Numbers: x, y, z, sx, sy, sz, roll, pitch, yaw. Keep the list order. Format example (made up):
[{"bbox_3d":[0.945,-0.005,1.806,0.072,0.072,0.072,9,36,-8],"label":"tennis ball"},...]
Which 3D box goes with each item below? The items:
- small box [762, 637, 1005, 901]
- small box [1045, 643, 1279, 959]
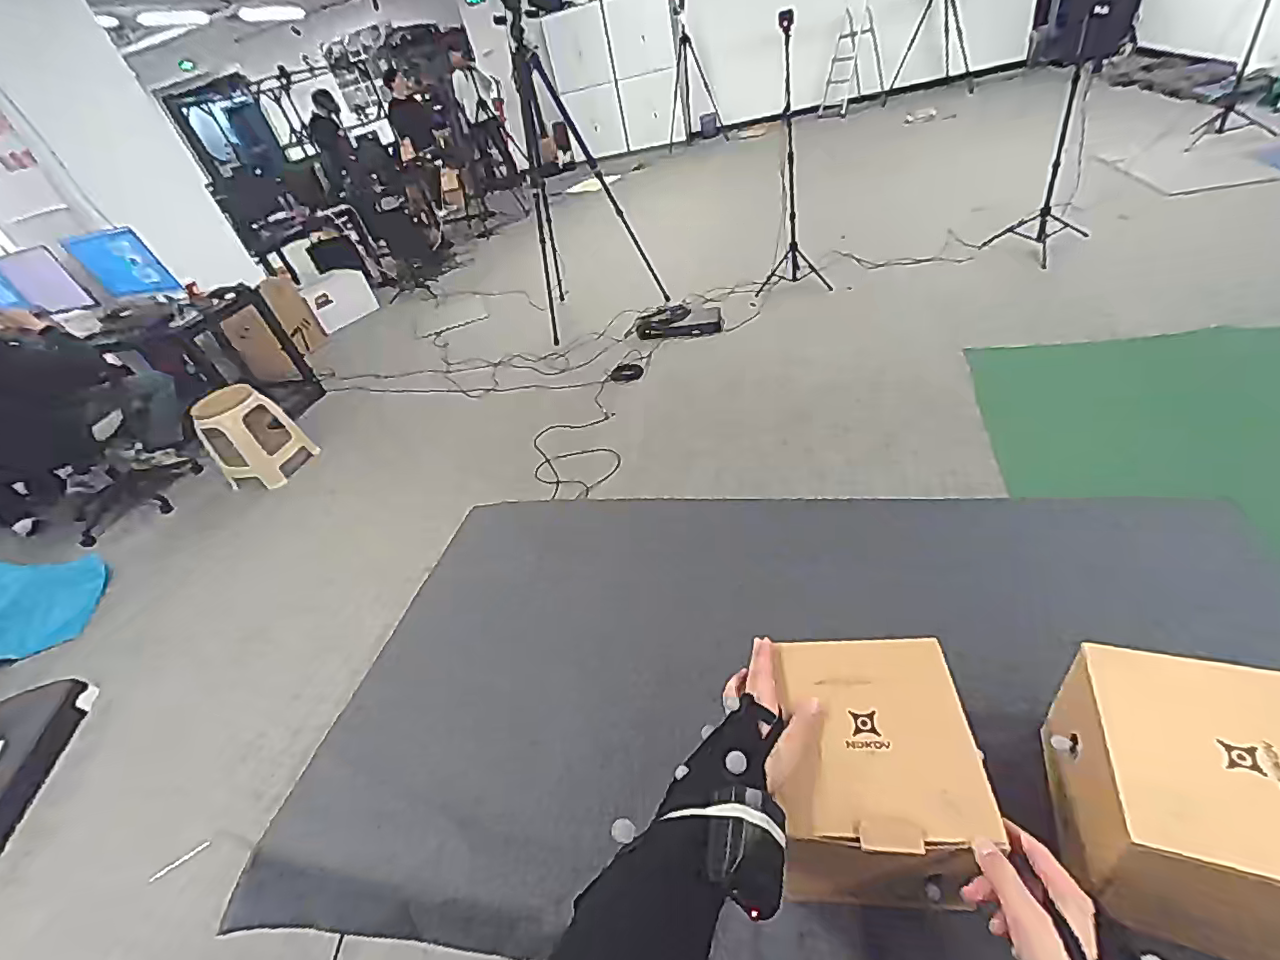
[{"bbox_3d":[0.211,0.274,0.517,0.168,0.176,0.179,-5,38,11],"label":"small box"},{"bbox_3d":[0.461,0.265,0.445,0.179,0.176,0.168,5,42,23],"label":"small box"}]
